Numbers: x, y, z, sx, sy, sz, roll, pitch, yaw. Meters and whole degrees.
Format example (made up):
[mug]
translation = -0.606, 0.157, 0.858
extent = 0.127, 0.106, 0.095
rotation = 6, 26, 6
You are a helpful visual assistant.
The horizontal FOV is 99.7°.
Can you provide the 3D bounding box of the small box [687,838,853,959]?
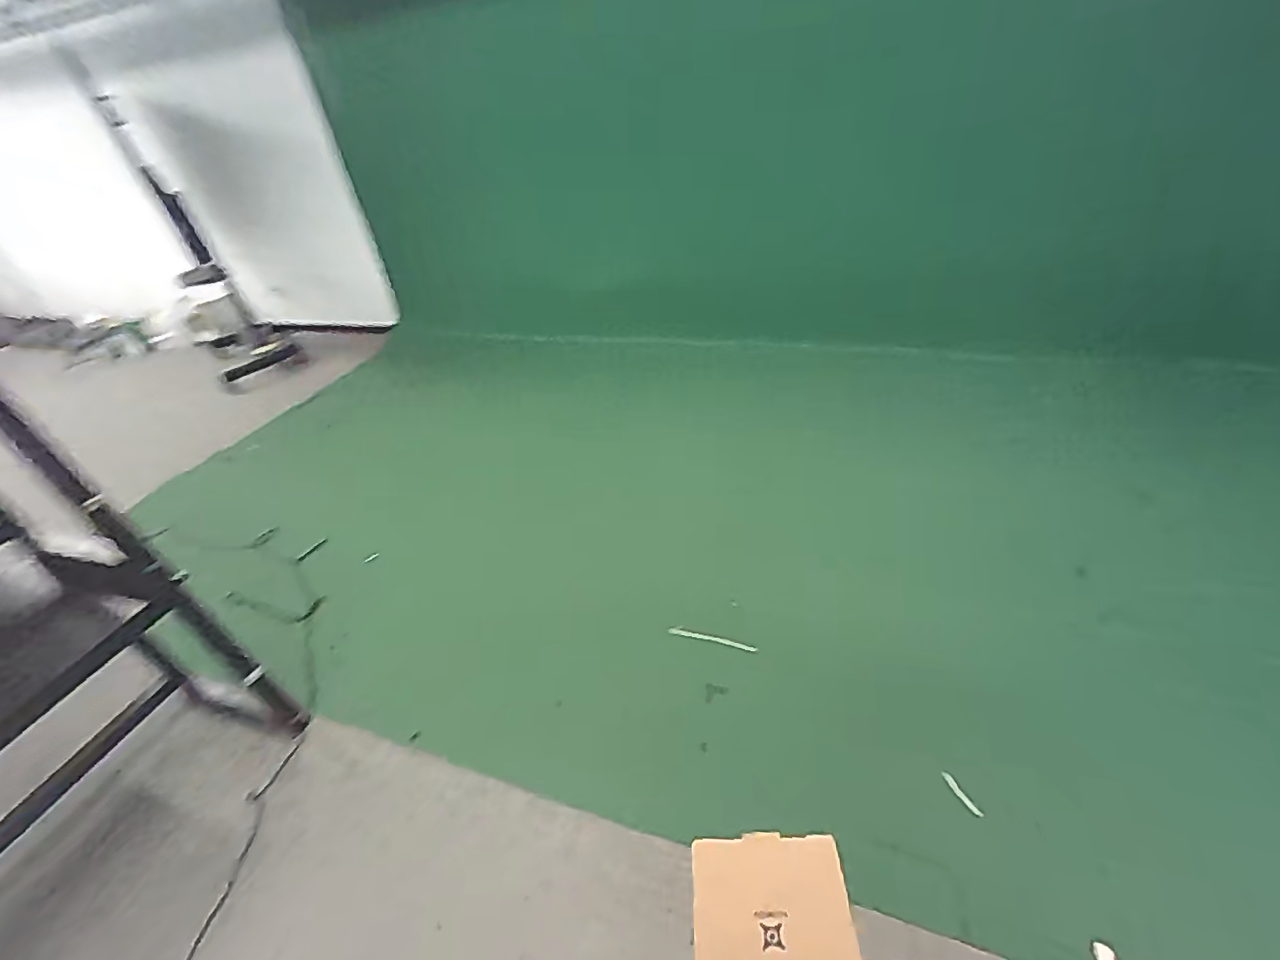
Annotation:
[small box]
translation = 0.145, 0.533, 0.598
extent = 0.168, 0.176, 0.179
rotation = -9, 30, 9
